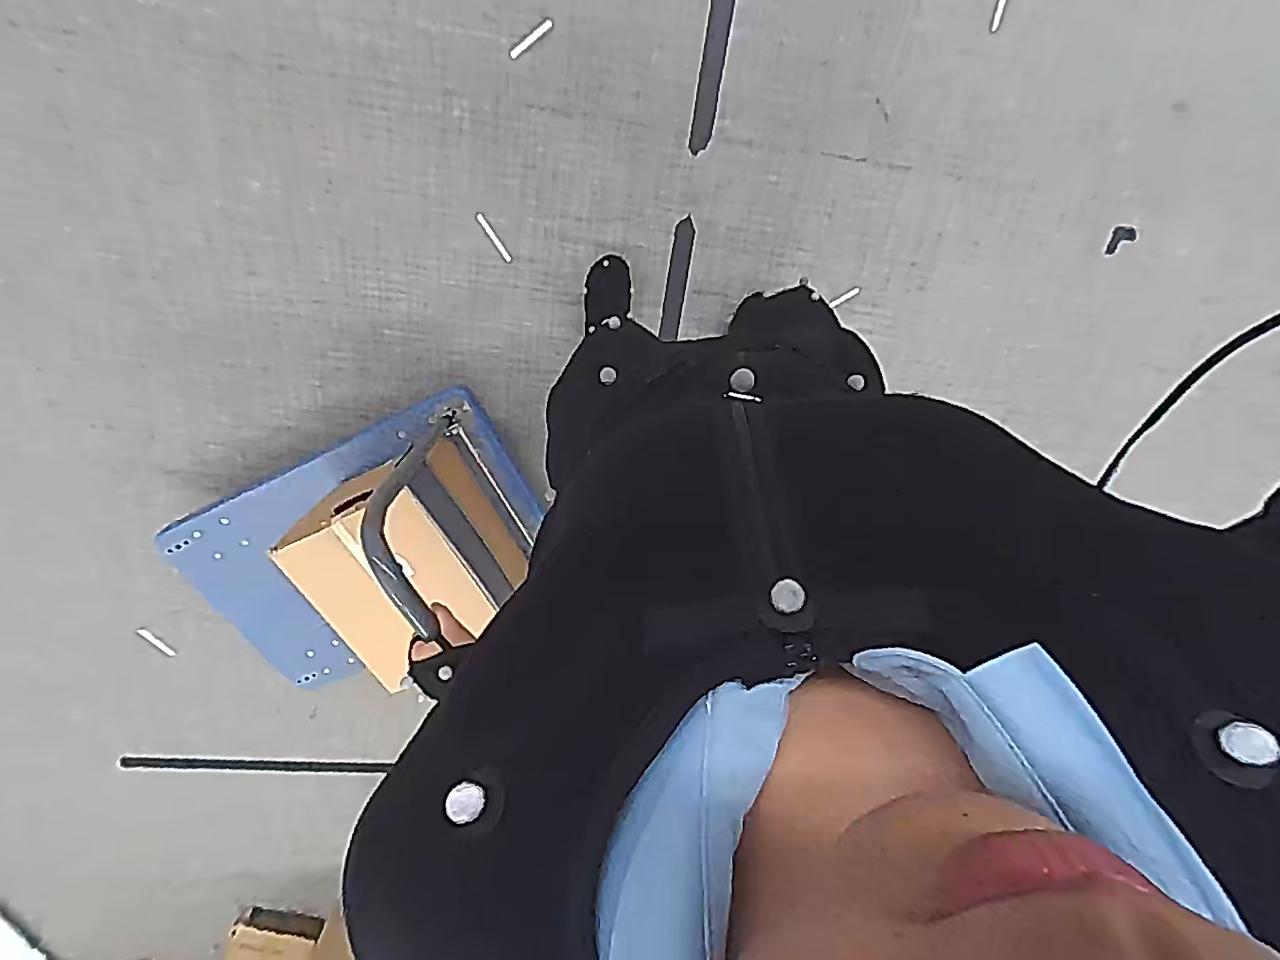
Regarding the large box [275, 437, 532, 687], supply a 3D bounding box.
[{"bbox_3d":[-0.490,0.175,1.229,0.320,0.320,0.408,-25,112,5],"label":"large box"}]
